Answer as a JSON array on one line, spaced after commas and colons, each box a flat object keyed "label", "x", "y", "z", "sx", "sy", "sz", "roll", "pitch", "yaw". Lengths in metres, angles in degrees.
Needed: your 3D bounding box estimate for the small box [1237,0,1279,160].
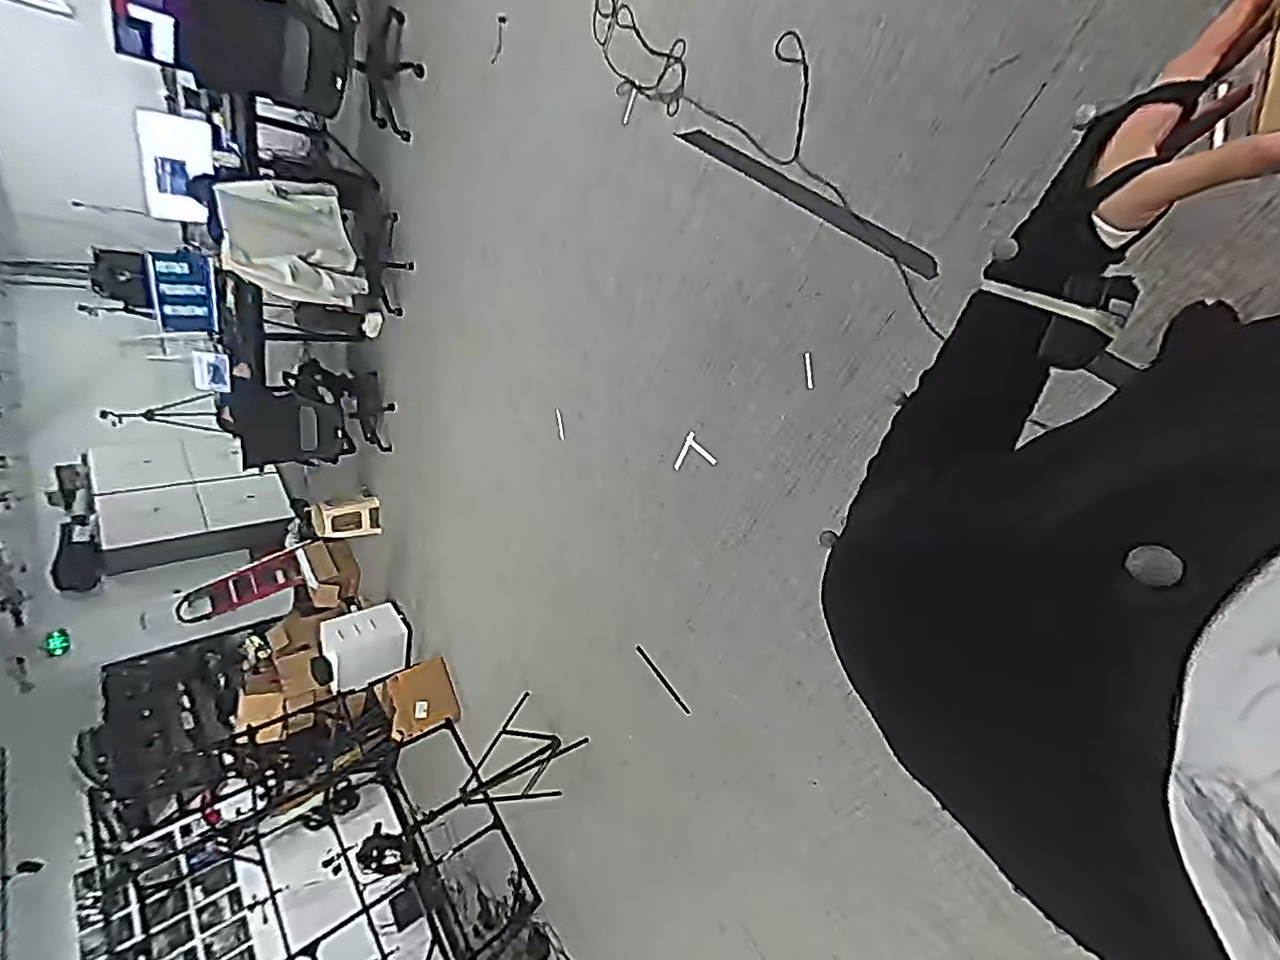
[{"label": "small box", "x": 0.438, "y": -0.275, "z": 0.267, "sx": 0.179, "sy": 0.176, "sz": 0.168, "roll": 10, "pitch": 115, "yaw": 43}]
